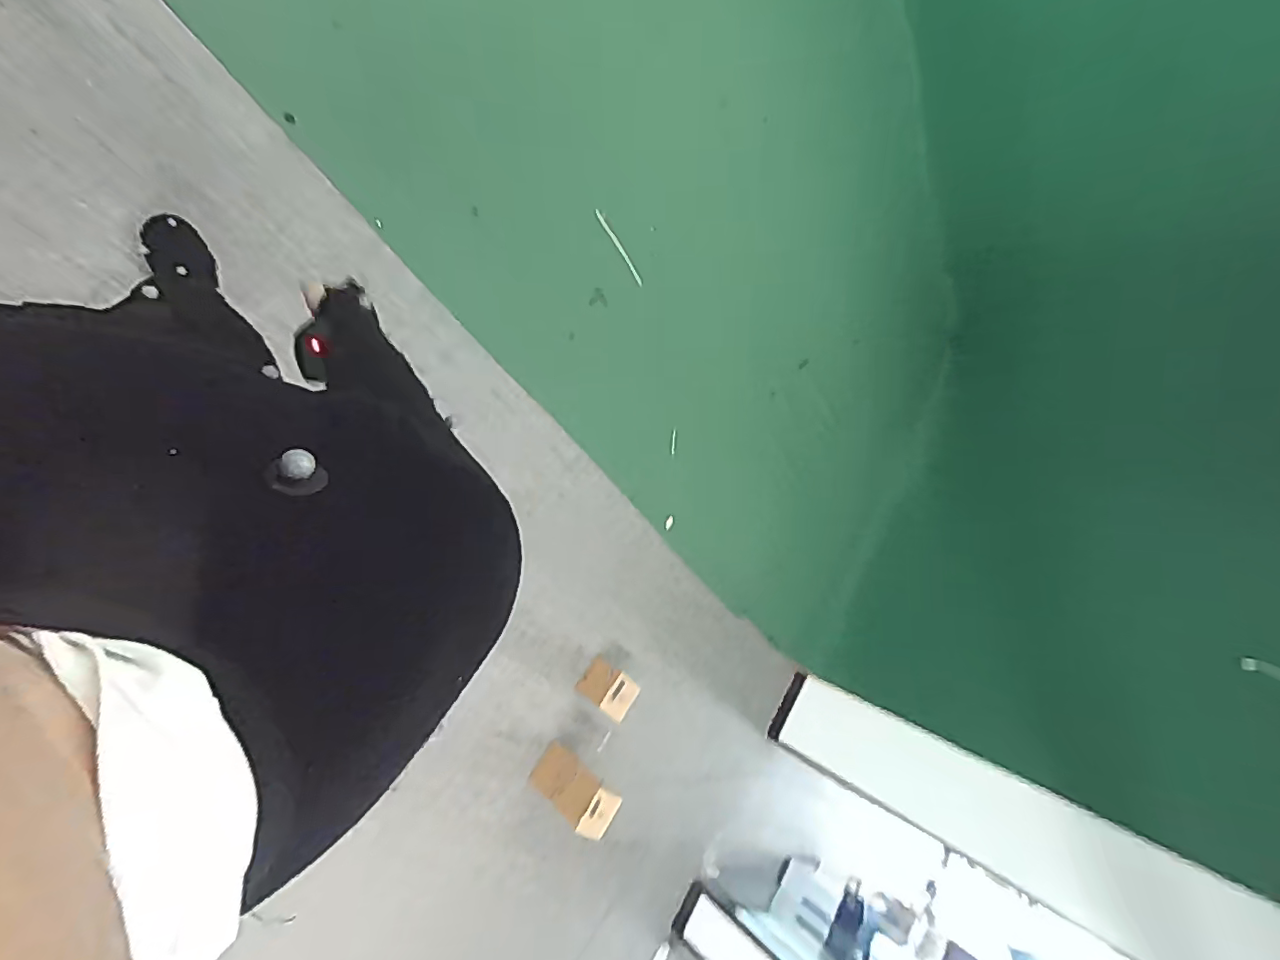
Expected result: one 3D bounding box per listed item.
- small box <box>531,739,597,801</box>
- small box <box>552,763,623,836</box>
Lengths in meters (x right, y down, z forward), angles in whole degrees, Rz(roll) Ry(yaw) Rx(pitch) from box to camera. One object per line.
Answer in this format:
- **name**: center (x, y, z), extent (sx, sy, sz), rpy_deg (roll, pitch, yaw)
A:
- **small box**: center (-0.314, 1.197, 2.209), extent (0.179, 0.176, 0.168), rpy_deg (-55, 131, -17)
- **small box**: center (-0.207, 1.227, 2.088), extent (0.168, 0.176, 0.179), rpy_deg (-54, 132, -19)
